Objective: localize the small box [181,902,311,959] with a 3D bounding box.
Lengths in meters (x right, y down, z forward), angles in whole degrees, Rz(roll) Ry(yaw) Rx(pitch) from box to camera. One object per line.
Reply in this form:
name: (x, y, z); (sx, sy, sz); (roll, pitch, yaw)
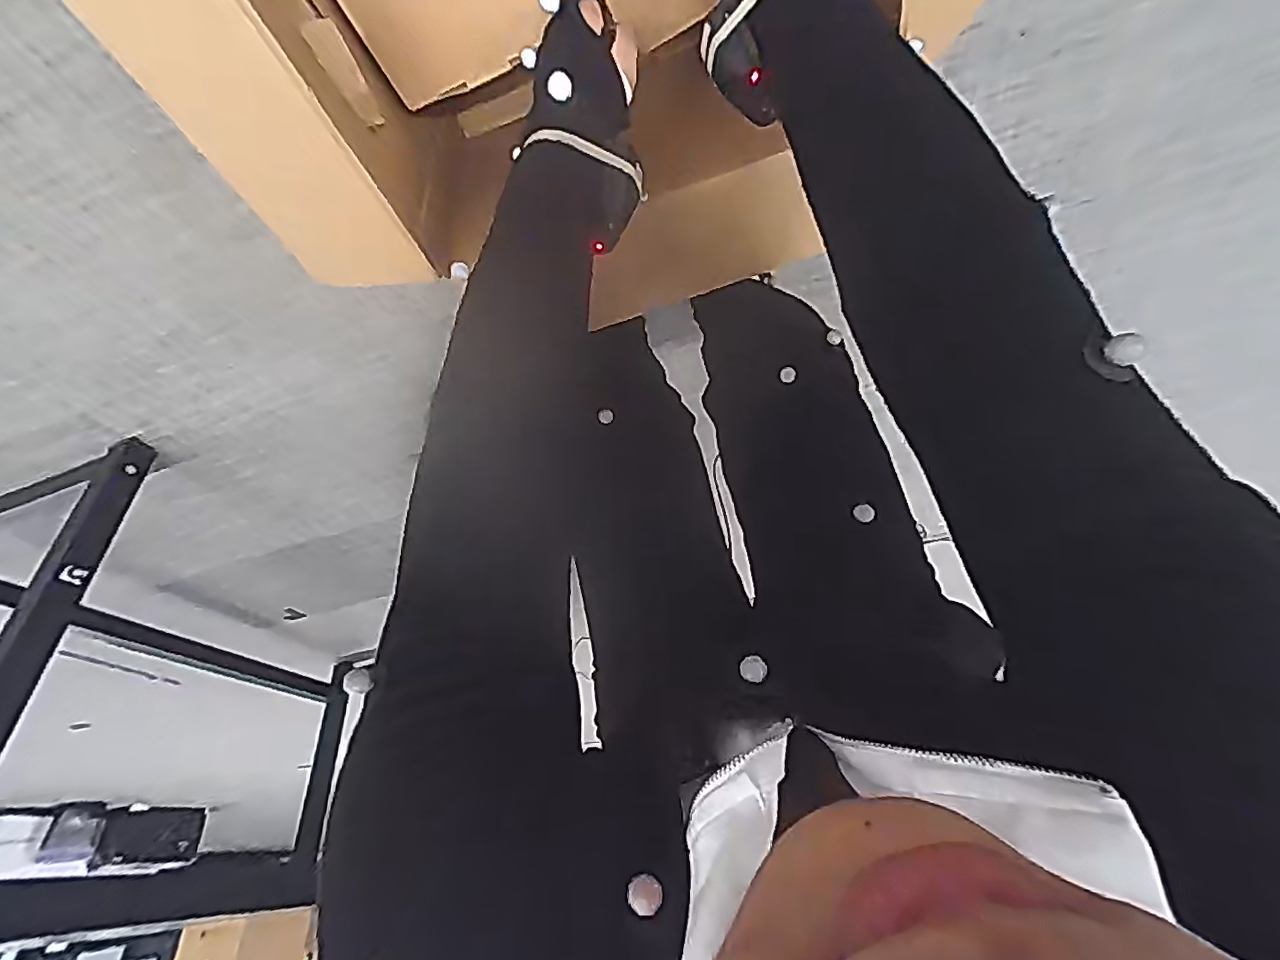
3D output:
small box: (-0.856, 1.028, 1.163); (0.168, 0.176, 0.179); (-16, 143, 11)
